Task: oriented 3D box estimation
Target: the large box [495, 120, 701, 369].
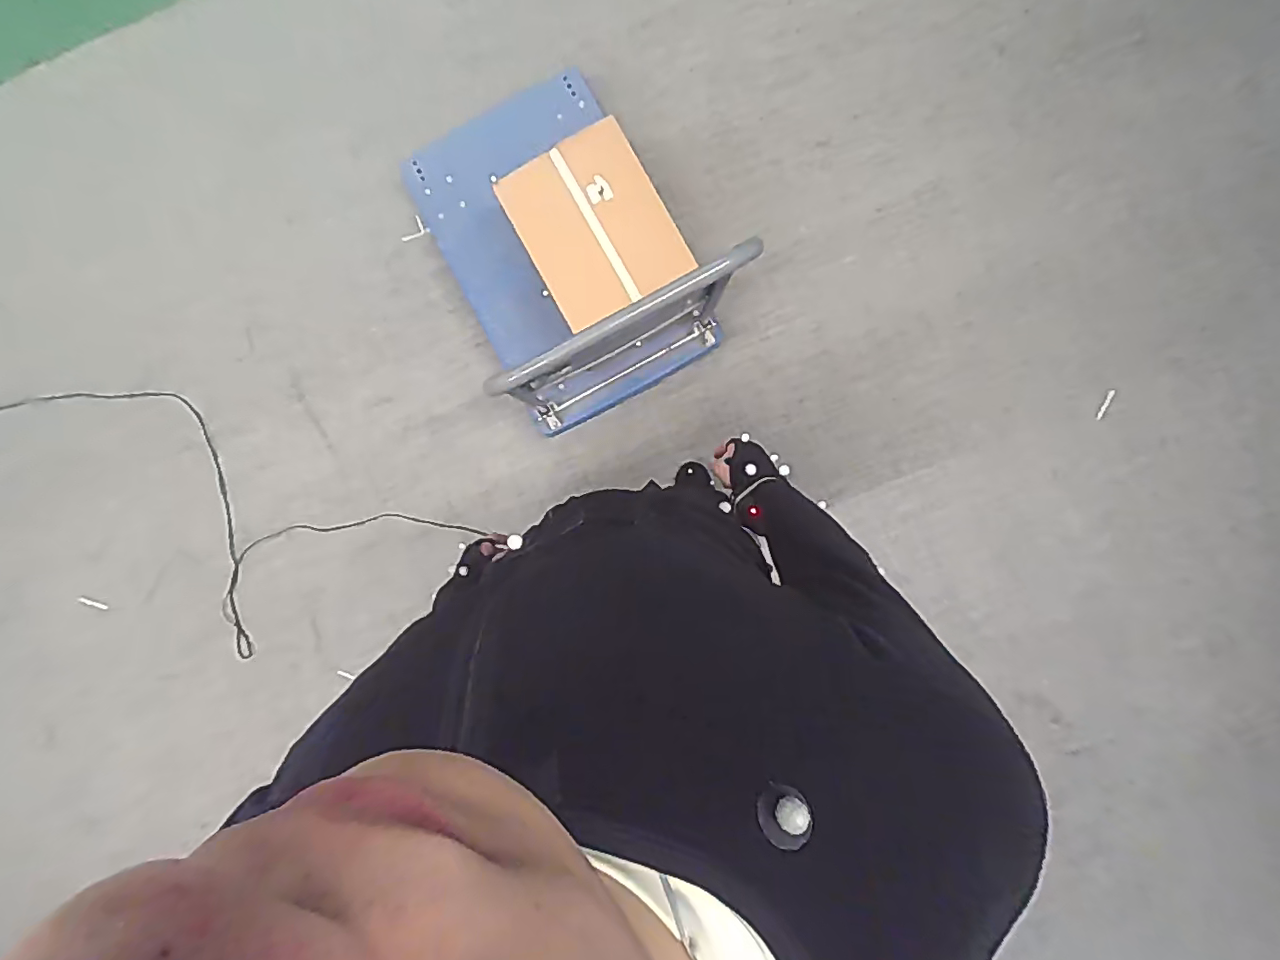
[{"bbox_3d":[-0.086,-0.546,1.331,0.320,0.320,0.408,-29,88,0],"label":"large box"}]
